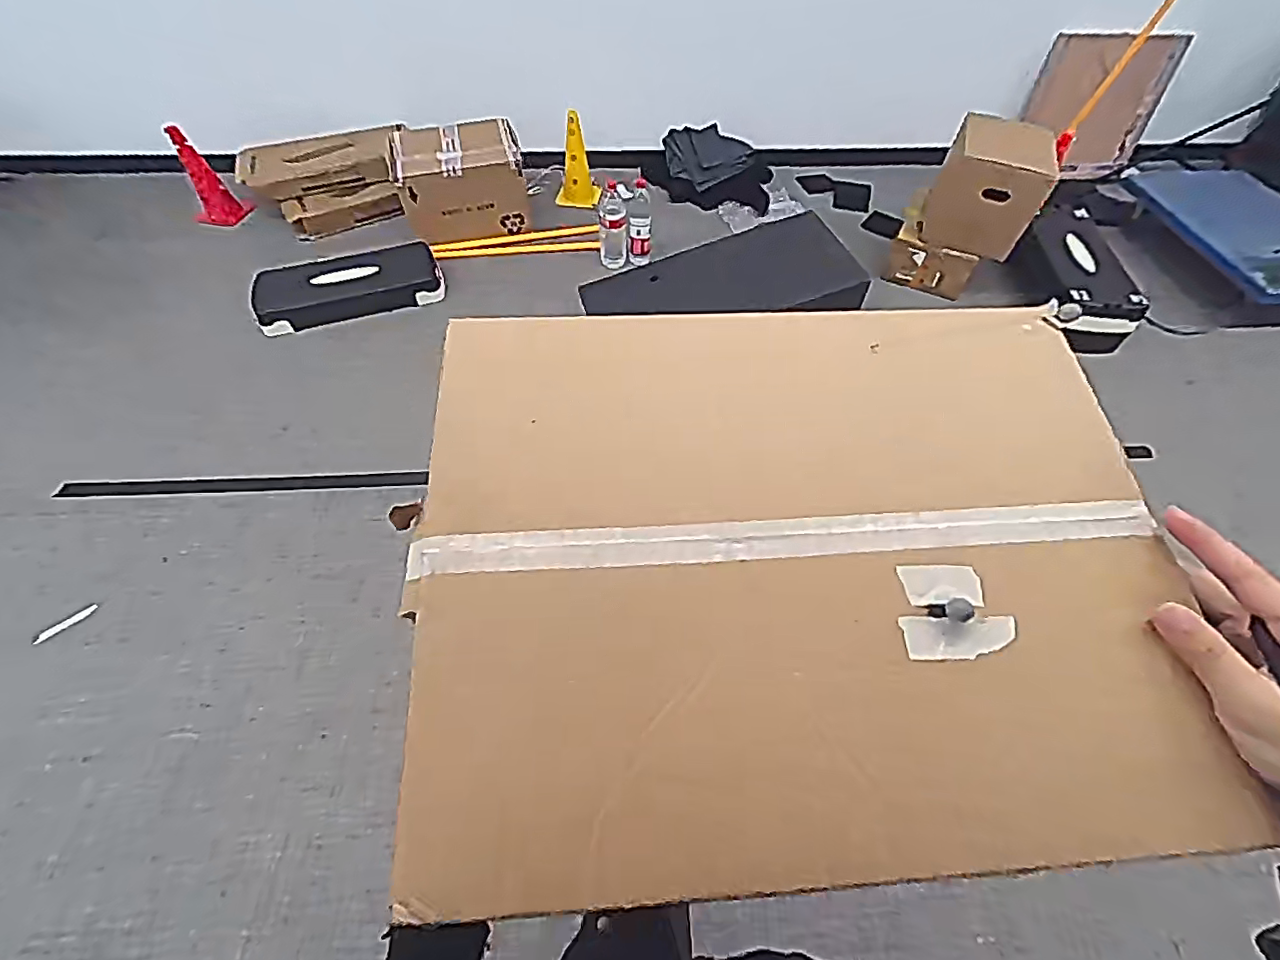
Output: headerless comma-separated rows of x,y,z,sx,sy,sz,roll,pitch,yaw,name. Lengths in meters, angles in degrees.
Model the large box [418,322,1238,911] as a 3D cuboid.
0.077,0.097,0.444,0.408,0.320,0.320,-2,67,-5,large box
